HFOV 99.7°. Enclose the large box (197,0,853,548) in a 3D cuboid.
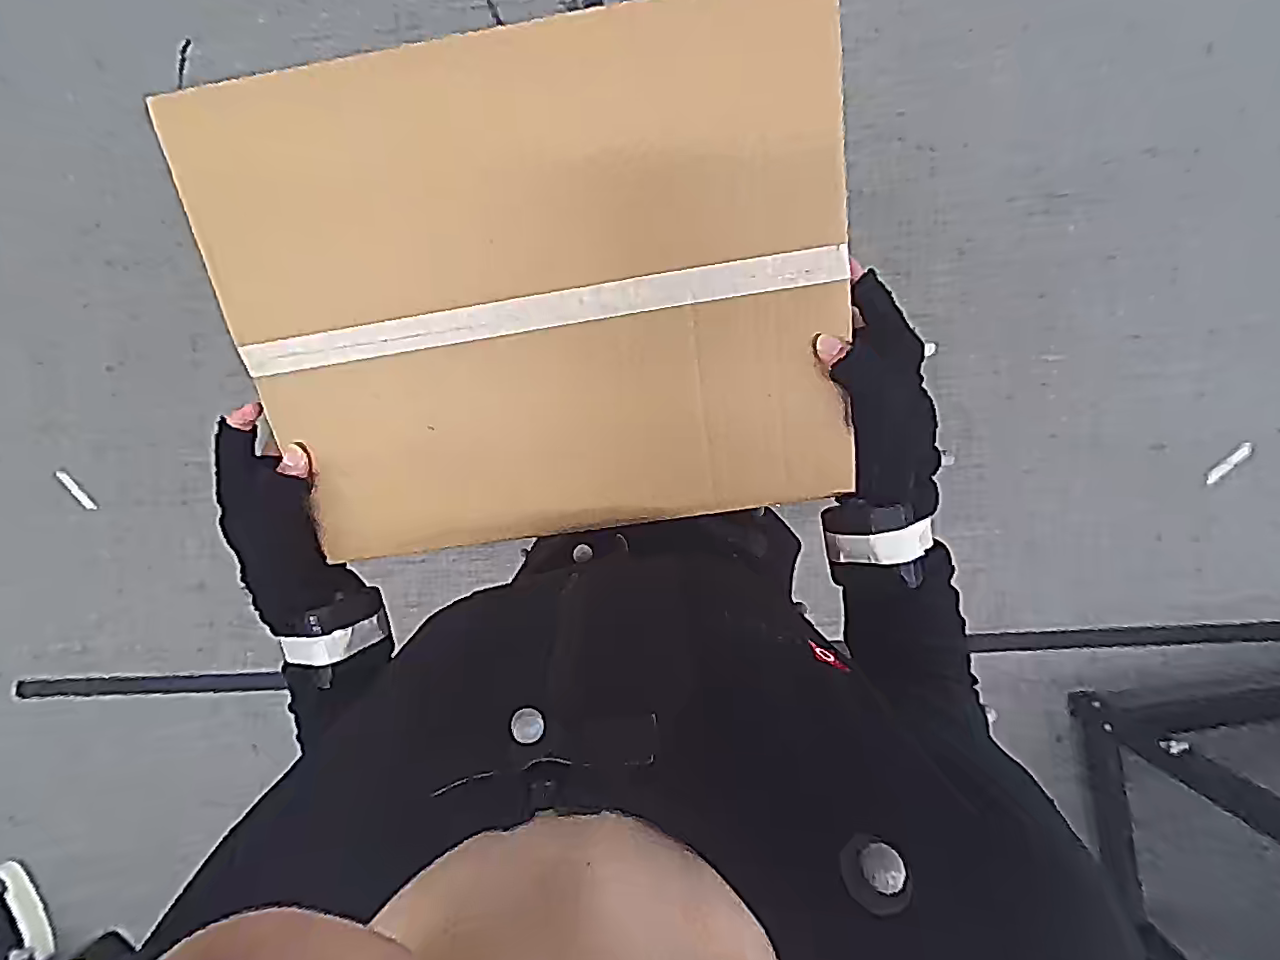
[{"bbox_3d":[-0.058,-0.162,0.507,0.408,0.320,0.320,-7,109,4],"label":"large box"}]
